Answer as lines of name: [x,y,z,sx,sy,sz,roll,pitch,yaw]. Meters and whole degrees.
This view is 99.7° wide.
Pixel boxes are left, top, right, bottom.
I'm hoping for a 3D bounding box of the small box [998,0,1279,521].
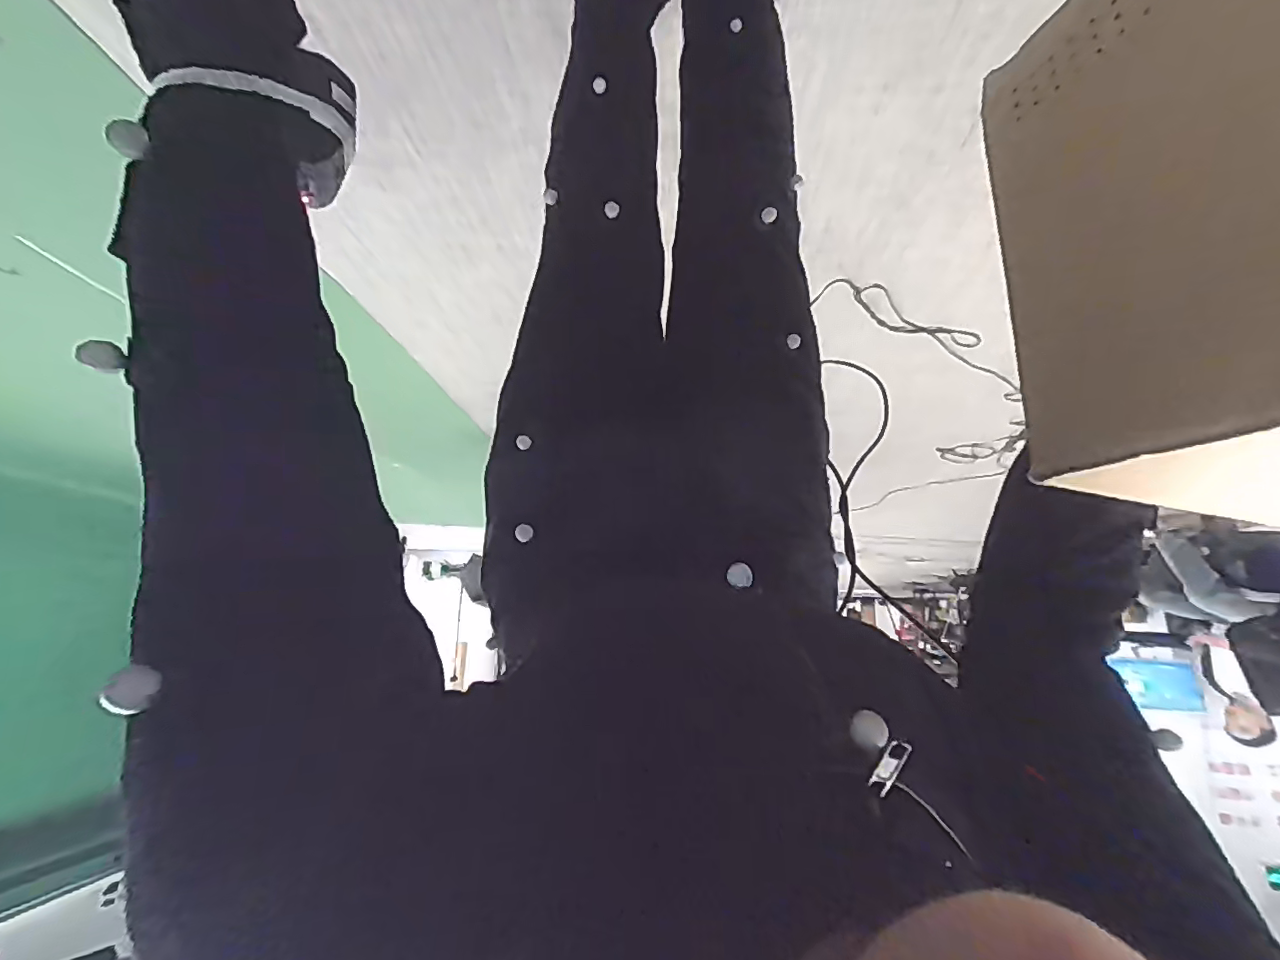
small box: [0.235,-0.089,0.144,0.168,0.176,0.179,8,165,-18]
